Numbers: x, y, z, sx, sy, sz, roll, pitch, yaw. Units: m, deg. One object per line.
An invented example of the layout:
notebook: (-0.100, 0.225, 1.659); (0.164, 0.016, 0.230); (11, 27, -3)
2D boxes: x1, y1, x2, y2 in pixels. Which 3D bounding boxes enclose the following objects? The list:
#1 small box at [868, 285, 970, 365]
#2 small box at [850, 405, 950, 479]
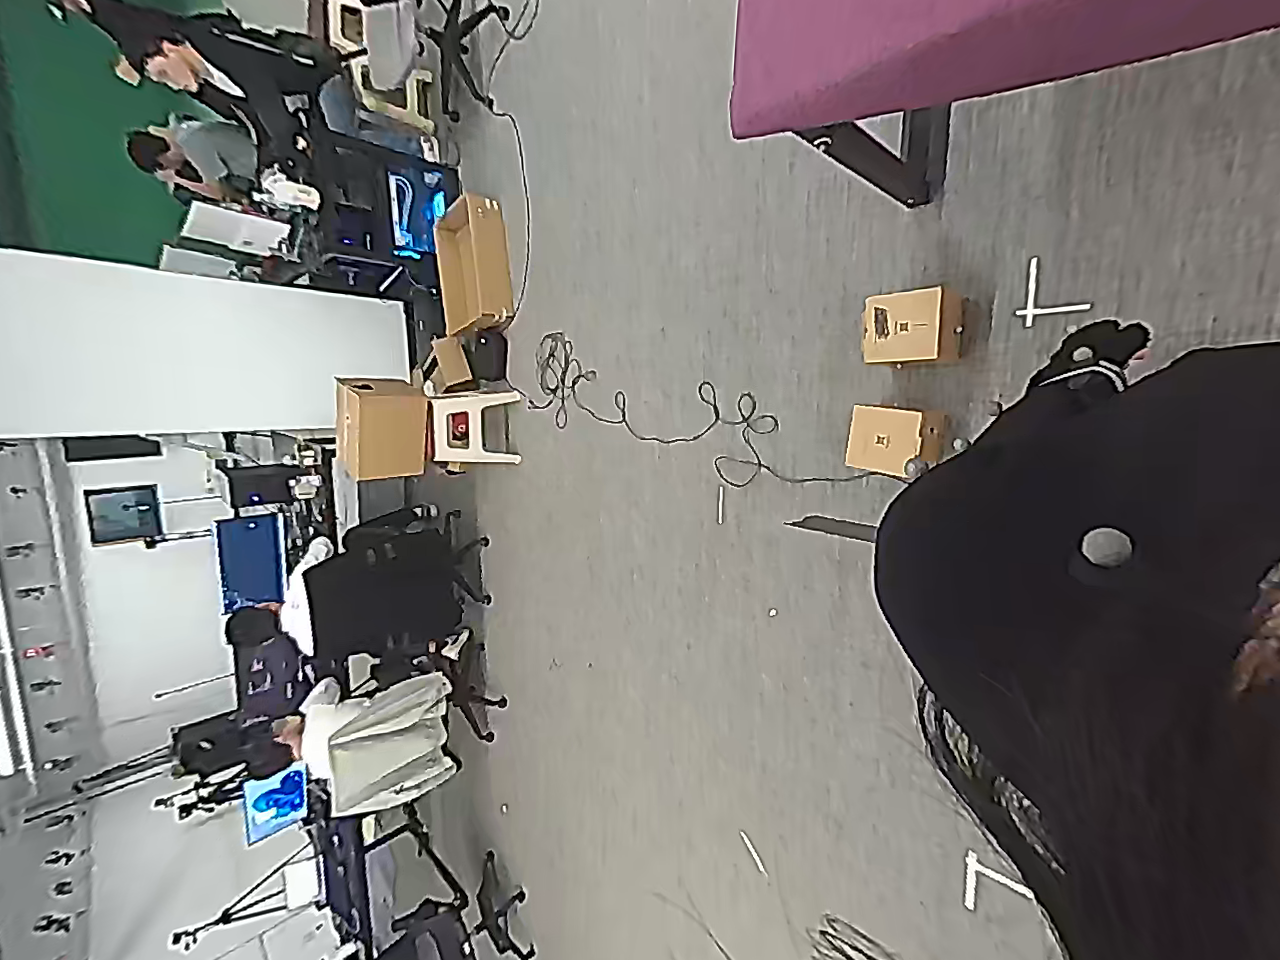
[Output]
small box: (0.694, -0.377, 1.345); (0.179, 0.176, 0.168); (7, 101, 46)
small box: (0.679, -0.105, 1.407); (0.179, 0.176, 0.168); (17, 107, 45)
